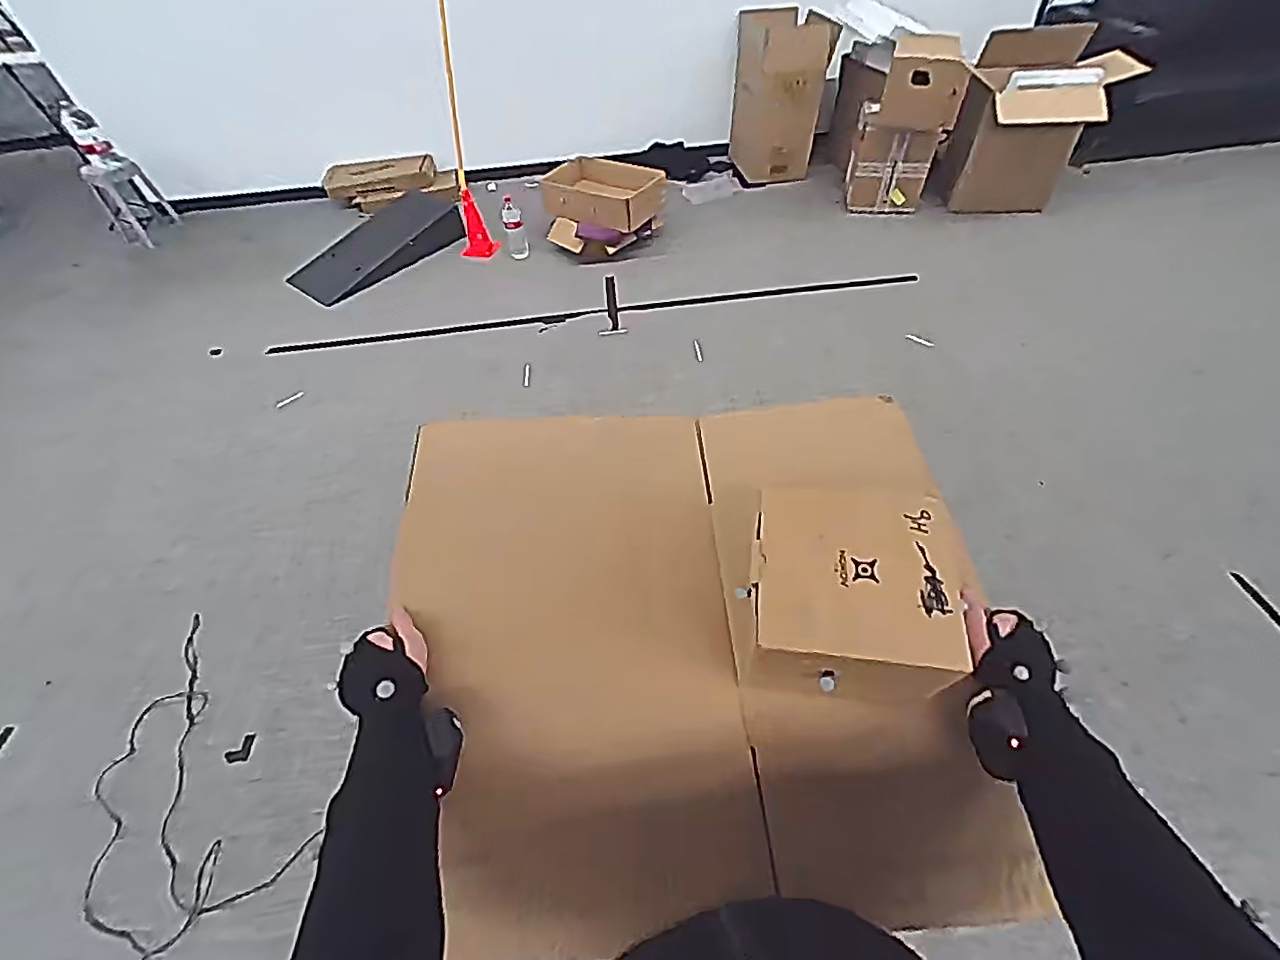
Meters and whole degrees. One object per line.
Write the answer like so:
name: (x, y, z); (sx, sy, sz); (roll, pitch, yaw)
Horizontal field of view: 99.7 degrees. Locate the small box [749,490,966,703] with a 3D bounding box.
small box: (0.208, 0.127, 0.571); (0.179, 0.176, 0.168); (3, 58, 10)
